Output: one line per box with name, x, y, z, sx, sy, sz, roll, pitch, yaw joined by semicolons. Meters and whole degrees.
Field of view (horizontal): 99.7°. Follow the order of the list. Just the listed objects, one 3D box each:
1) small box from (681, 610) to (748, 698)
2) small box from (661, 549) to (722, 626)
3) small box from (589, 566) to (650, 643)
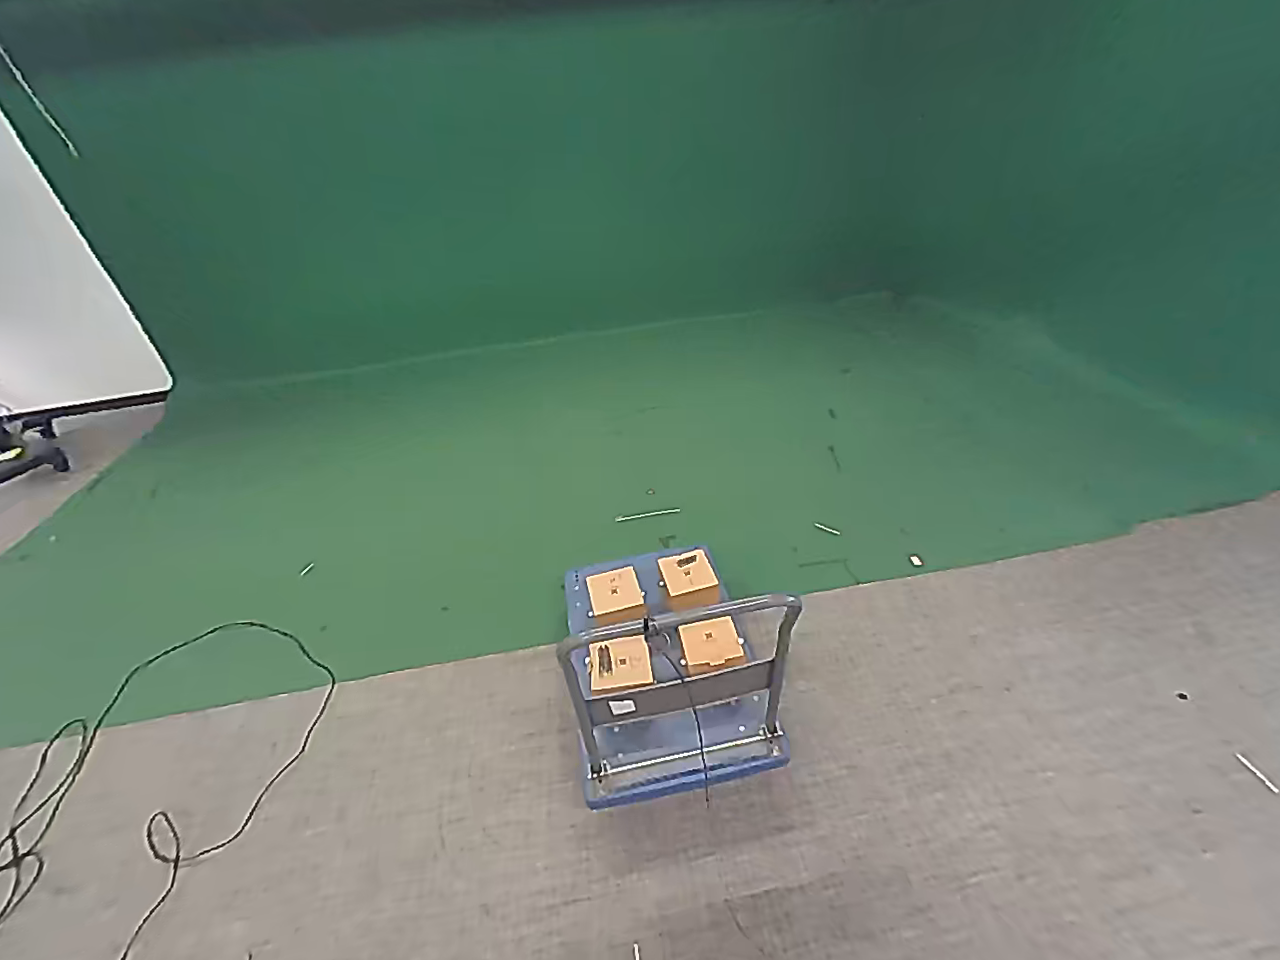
small box;0.220;0.525;1.634;0.168;0.176;0.179;-10;37;-4
small box;0.175;0.370;1.850;0.168;0.176;0.179;-13;38;-7
small box;-0.068;0.425;1.817;0.168;0.176;0.179;-12;37;-8
